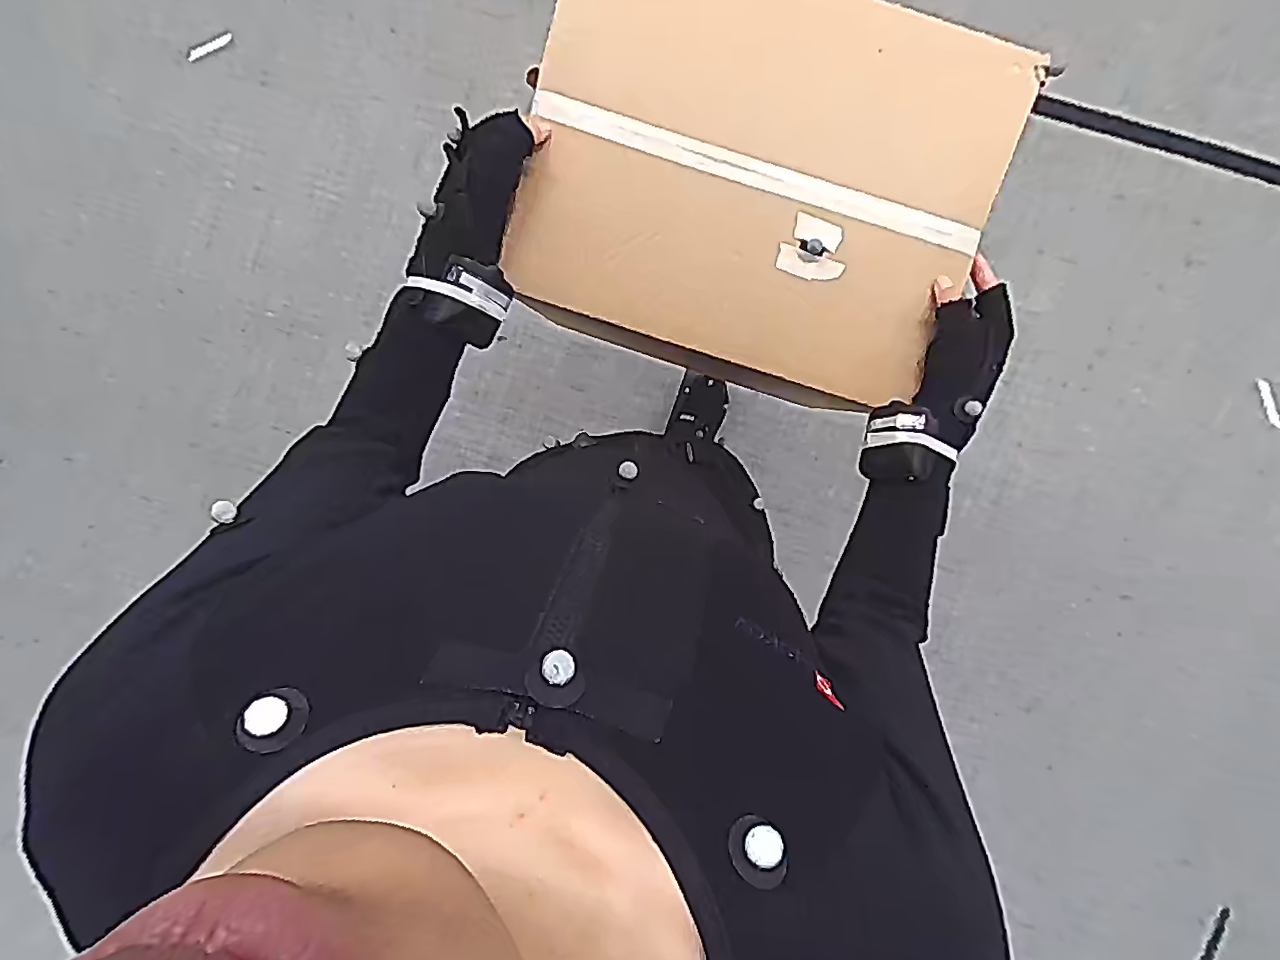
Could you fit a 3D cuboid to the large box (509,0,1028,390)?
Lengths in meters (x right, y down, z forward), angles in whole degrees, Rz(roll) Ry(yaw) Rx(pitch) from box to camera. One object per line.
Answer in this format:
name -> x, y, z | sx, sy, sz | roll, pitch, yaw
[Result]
large box -> 0.108, -0.308, 0.633 | 0.408, 0.320, 0.320 | 17, 101, -1
